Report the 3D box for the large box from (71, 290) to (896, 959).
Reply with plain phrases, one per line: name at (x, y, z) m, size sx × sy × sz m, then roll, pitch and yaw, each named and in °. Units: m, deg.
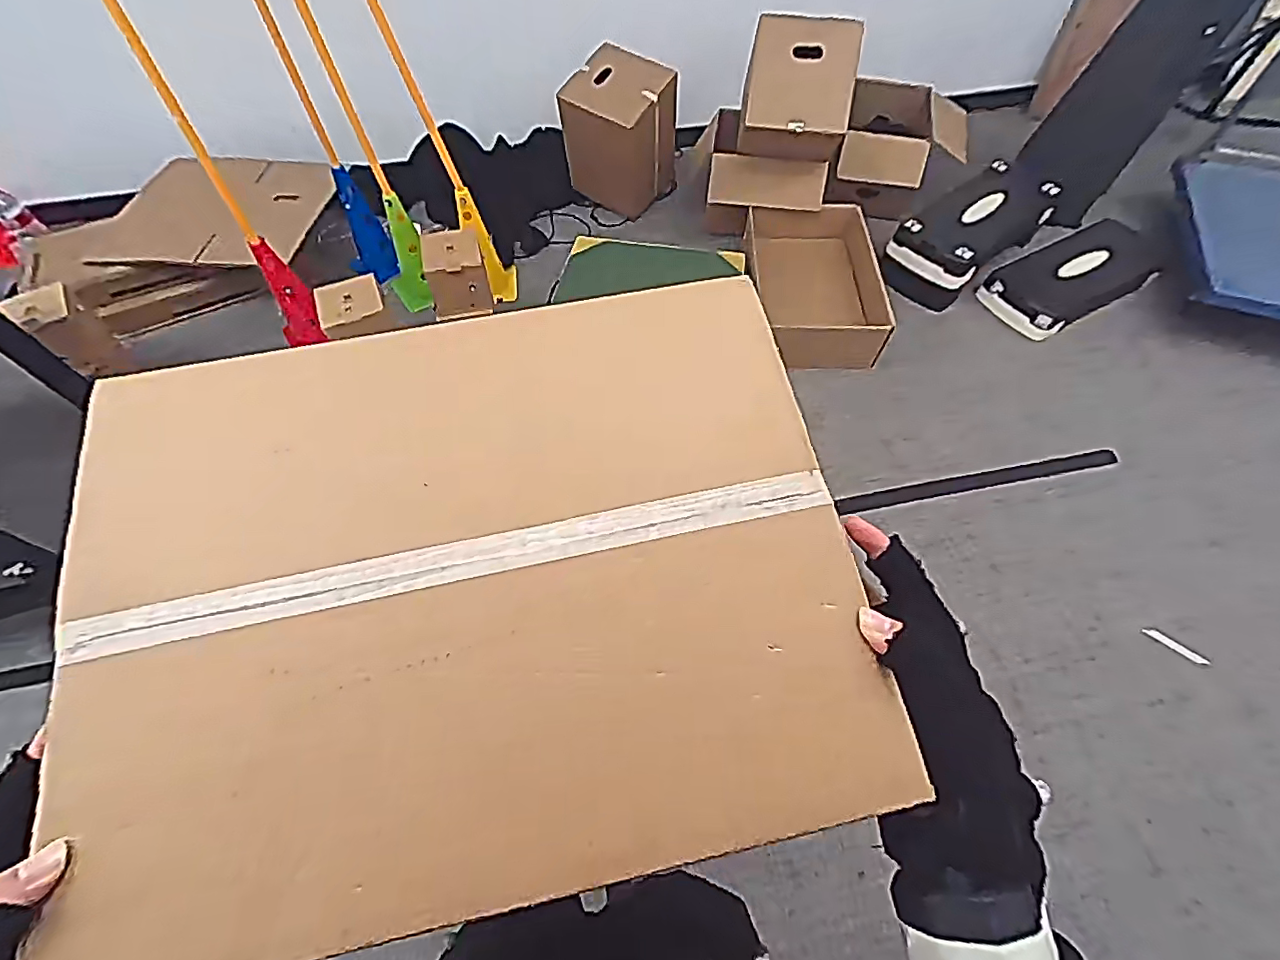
large box at (-0.096, 0.098, 0.446) m, size 0.408 × 0.320 × 0.320 m, roll -11°, pitch 71°, yaw -5°
